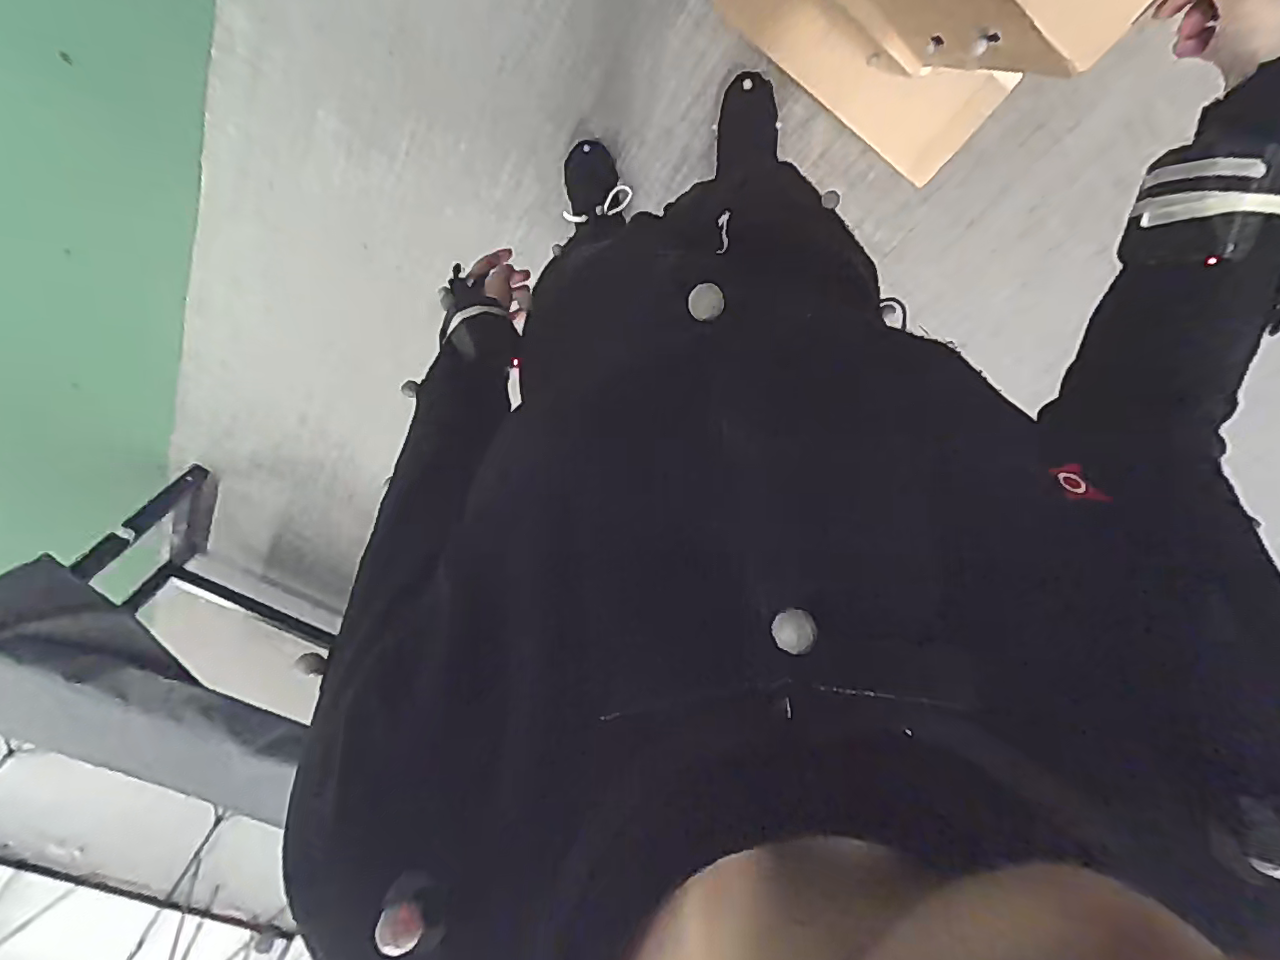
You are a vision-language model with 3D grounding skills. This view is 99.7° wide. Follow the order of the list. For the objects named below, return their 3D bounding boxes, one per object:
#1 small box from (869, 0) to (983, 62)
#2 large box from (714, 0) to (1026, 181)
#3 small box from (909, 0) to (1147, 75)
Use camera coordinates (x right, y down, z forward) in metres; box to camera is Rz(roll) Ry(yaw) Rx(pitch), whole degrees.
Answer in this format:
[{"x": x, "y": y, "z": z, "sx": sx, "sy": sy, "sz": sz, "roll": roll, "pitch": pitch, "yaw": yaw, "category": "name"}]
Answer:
[{"x": 0.280, "y": -0.502, "z": 0.463, "sx": 0.179, "sy": 0.176, "sz": 0.168, "roll": 33, "pitch": 126, "yaw": -18, "category": "small box"}, {"x": 0.356, "y": -0.730, "z": 0.794, "sx": 0.408, "sy": 0.320, "sz": 0.320, "roll": 29, "pitch": 128, "yaw": -16, "category": "large box"}, {"x": 0.258, "y": -0.400, "z": 0.339, "sx": 0.179, "sy": 0.176, "sz": 0.168, "roll": 30, "pitch": 126, "yaw": -15, "category": "small box"}]
